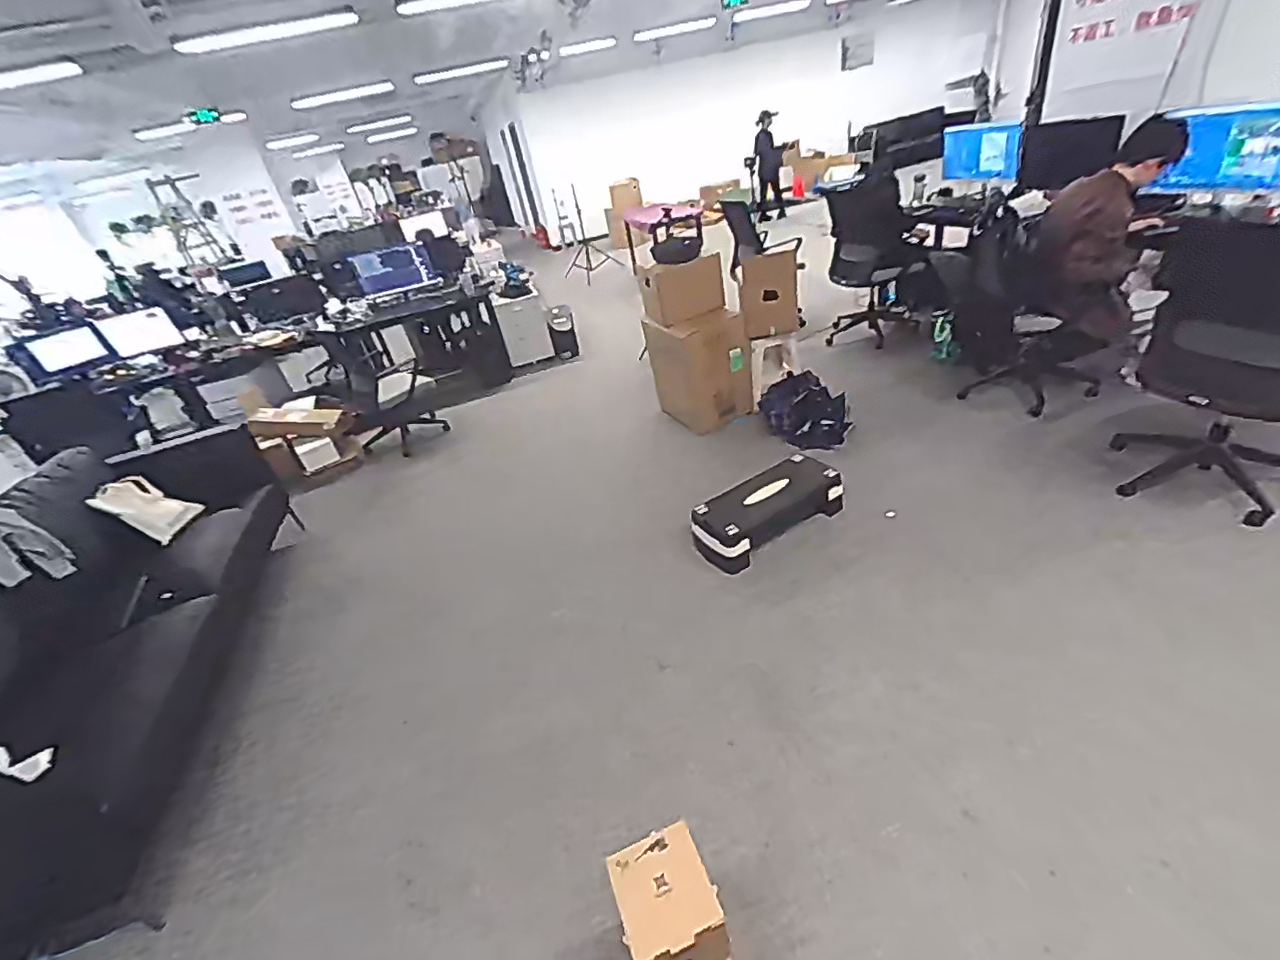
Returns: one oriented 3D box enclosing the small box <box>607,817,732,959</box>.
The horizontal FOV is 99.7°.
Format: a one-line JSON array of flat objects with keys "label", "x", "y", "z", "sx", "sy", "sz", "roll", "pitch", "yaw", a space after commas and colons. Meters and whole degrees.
[{"label": "small box", "x": 0.057, "y": 0.778, "z": 0.997, "sx": 0.168, "sy": 0.176, "sz": 0.179, "roll": -20, "pitch": 35, "yaw": -12}]
